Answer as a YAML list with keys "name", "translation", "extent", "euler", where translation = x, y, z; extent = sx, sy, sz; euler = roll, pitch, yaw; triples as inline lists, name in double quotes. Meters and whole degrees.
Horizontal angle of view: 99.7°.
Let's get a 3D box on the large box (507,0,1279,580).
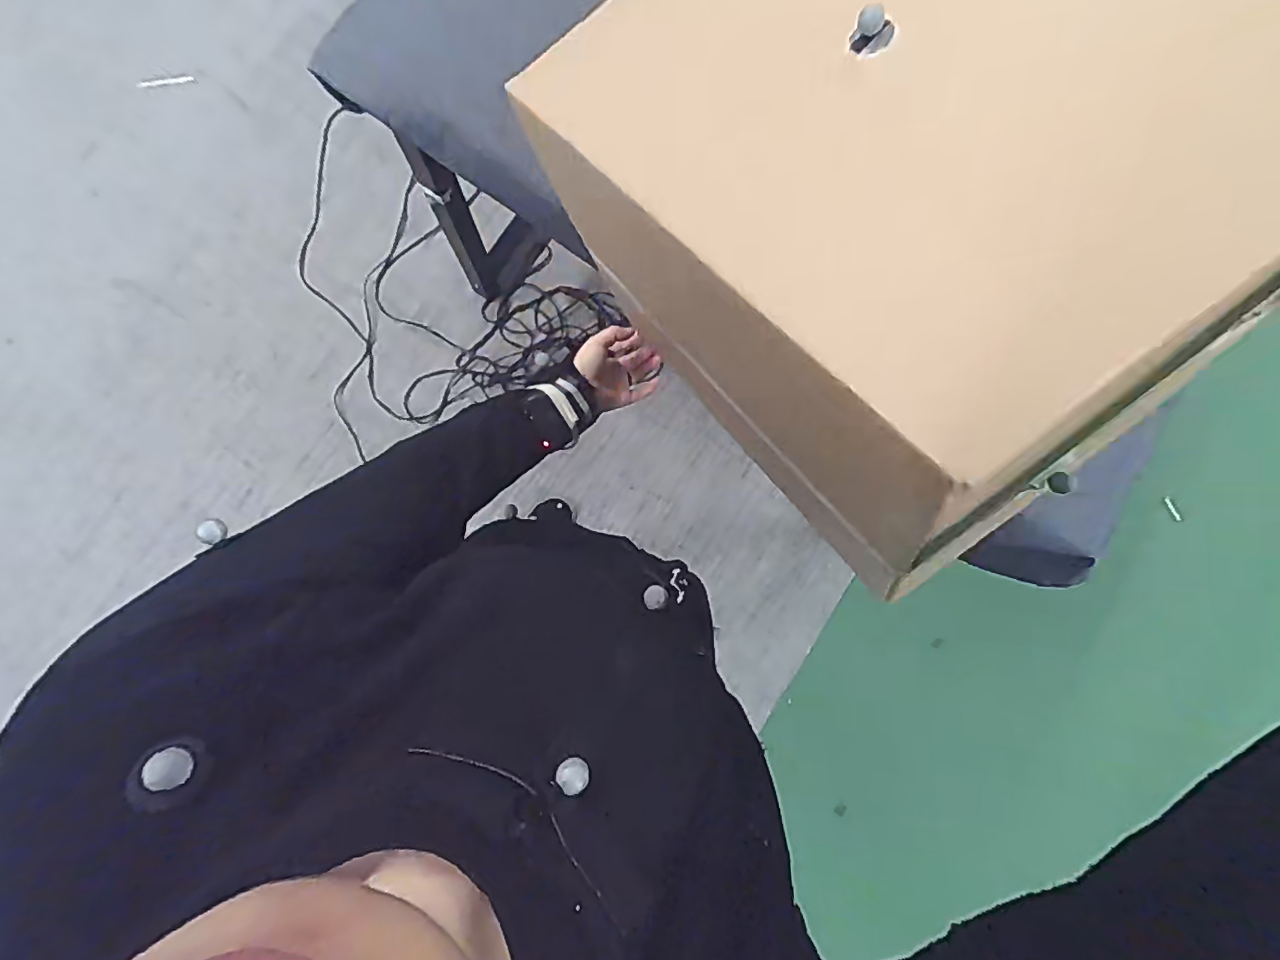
- name: "large box"
  translation: [0.174, -0.185, 0.417]
  extent: [0.320, 0.320, 0.408]
  euler: [-40, 63, 2]
